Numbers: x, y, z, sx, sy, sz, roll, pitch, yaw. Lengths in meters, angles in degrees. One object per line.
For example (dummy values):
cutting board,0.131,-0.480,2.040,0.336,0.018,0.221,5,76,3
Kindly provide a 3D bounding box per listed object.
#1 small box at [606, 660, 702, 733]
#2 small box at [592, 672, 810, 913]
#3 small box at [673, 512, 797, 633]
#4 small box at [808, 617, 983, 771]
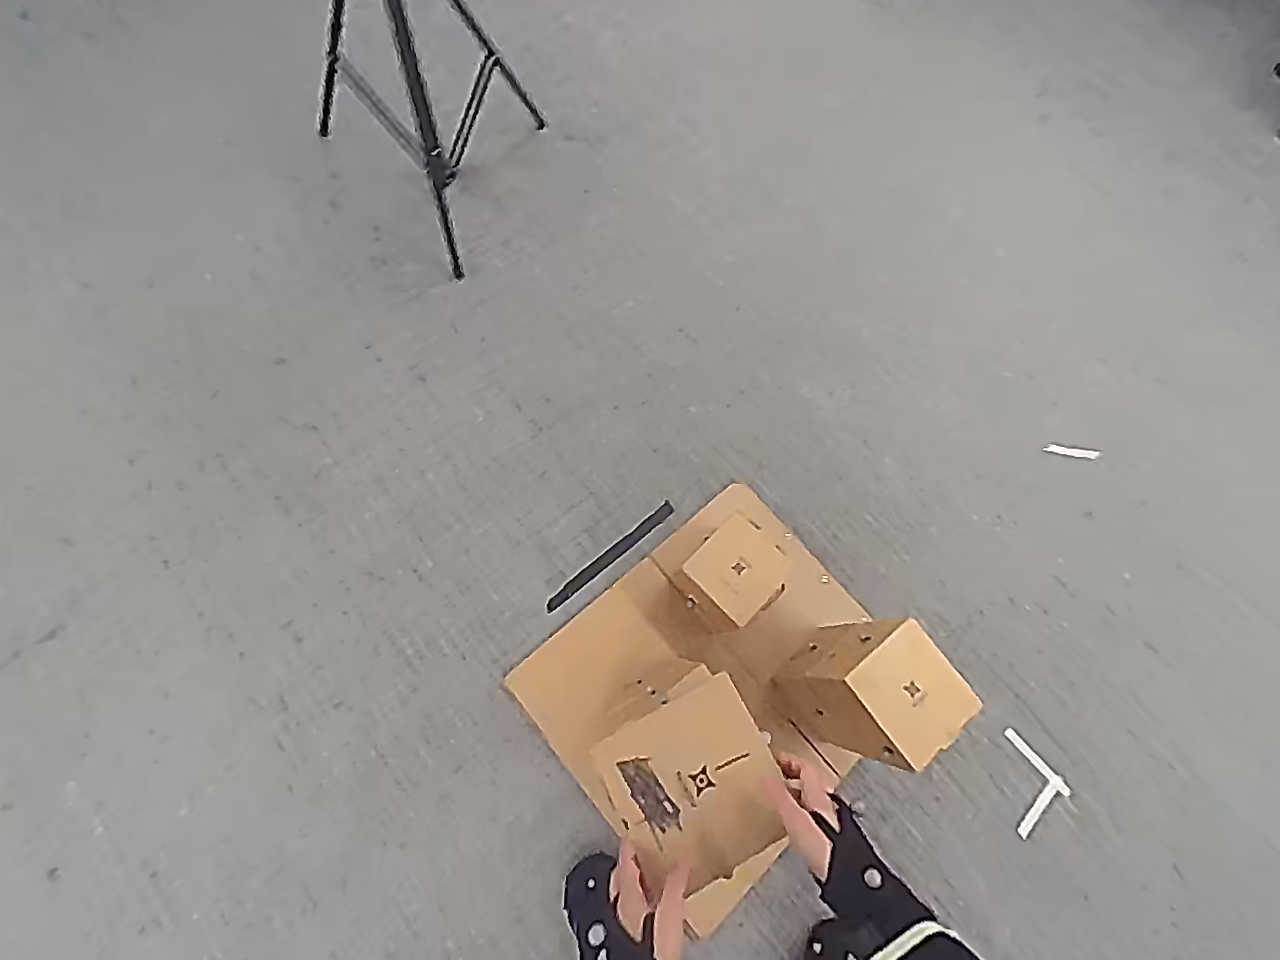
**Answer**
small box,0.049,0.462,1.029,0.179,0.176,0.168,-30,78,-13
small box,0.067,0.347,0.629,0.179,0.176,0.168,-27,66,-7
small box,0.189,0.199,1.136,0.168,0.176,0.179,44,72,10
small box,0.426,0.361,0.934,0.168,0.176,0.179,-35,80,-16
